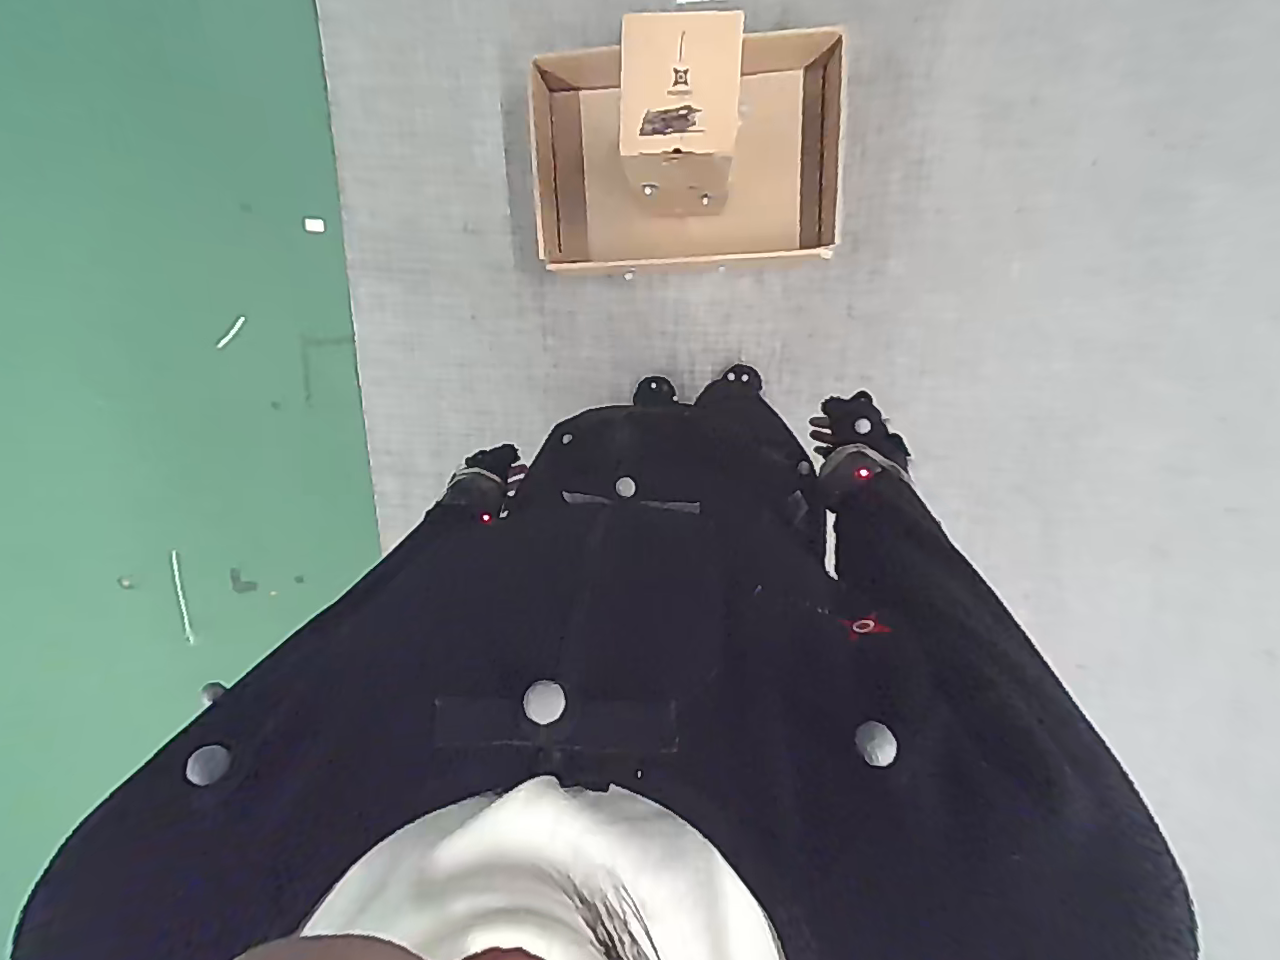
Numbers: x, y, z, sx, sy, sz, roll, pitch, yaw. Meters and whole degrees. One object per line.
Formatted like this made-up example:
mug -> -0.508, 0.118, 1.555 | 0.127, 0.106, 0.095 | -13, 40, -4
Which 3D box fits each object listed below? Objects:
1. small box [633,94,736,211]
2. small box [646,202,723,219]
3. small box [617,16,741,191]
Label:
small box -> 0.077, -0.595, 0.972 | 0.179, 0.176, 0.168 | -2, 103, 5
small box -> 0.090, -0.663, 1.141 | 0.179, 0.176, 0.168 | -2, 102, 5
small box -> 0.060, -0.560, 0.829 | 0.168, 0.176, 0.179 | 3, 102, 4
